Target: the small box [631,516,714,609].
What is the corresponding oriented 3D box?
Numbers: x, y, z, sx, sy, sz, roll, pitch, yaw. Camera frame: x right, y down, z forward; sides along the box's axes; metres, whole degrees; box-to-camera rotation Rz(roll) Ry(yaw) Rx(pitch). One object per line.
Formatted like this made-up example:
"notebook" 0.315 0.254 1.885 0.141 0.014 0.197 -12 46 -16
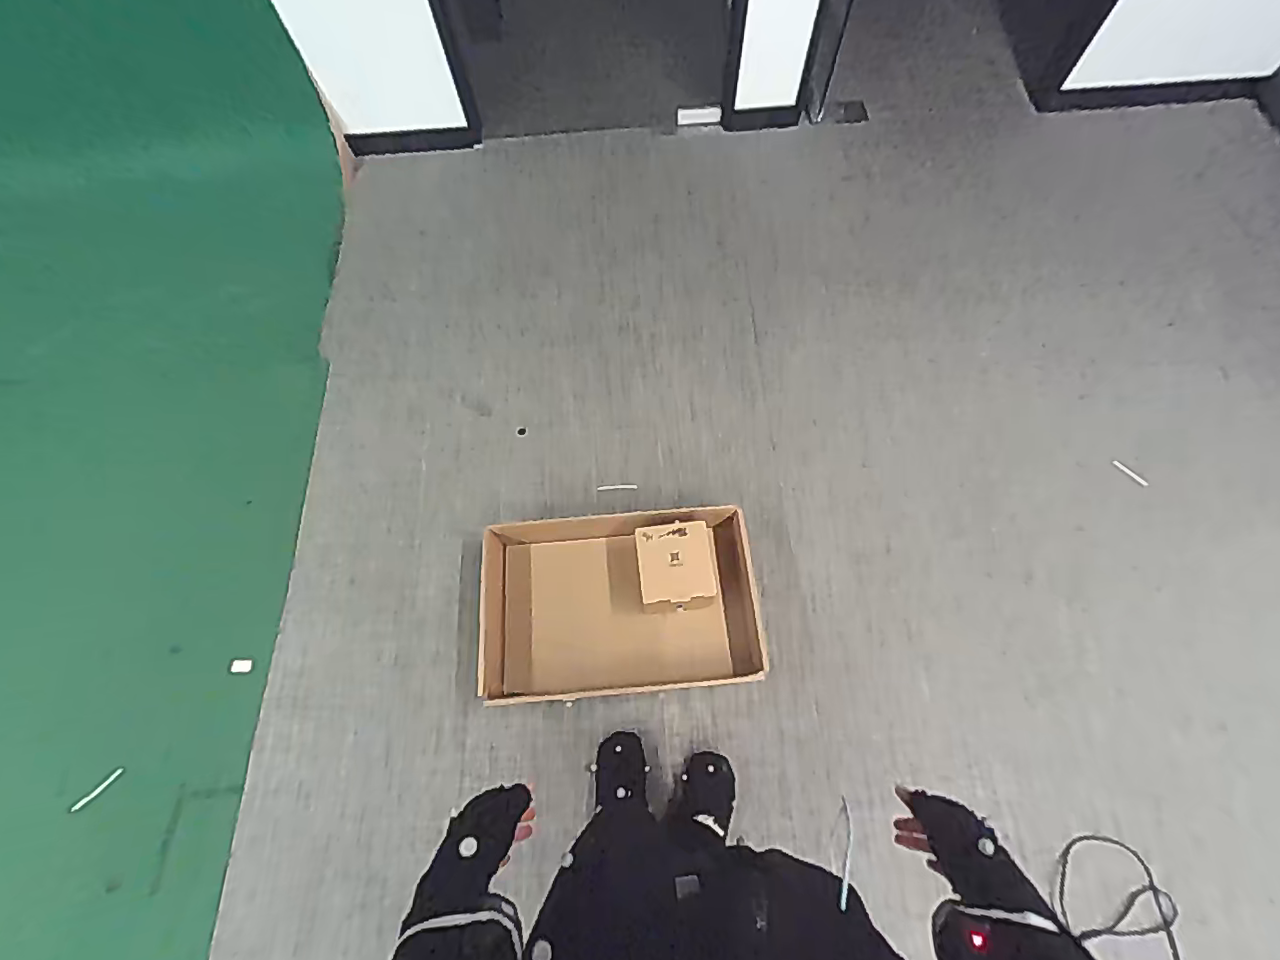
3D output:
"small box" 0.077 0.203 1.282 0.168 0.176 0.179 -9 67 -1
